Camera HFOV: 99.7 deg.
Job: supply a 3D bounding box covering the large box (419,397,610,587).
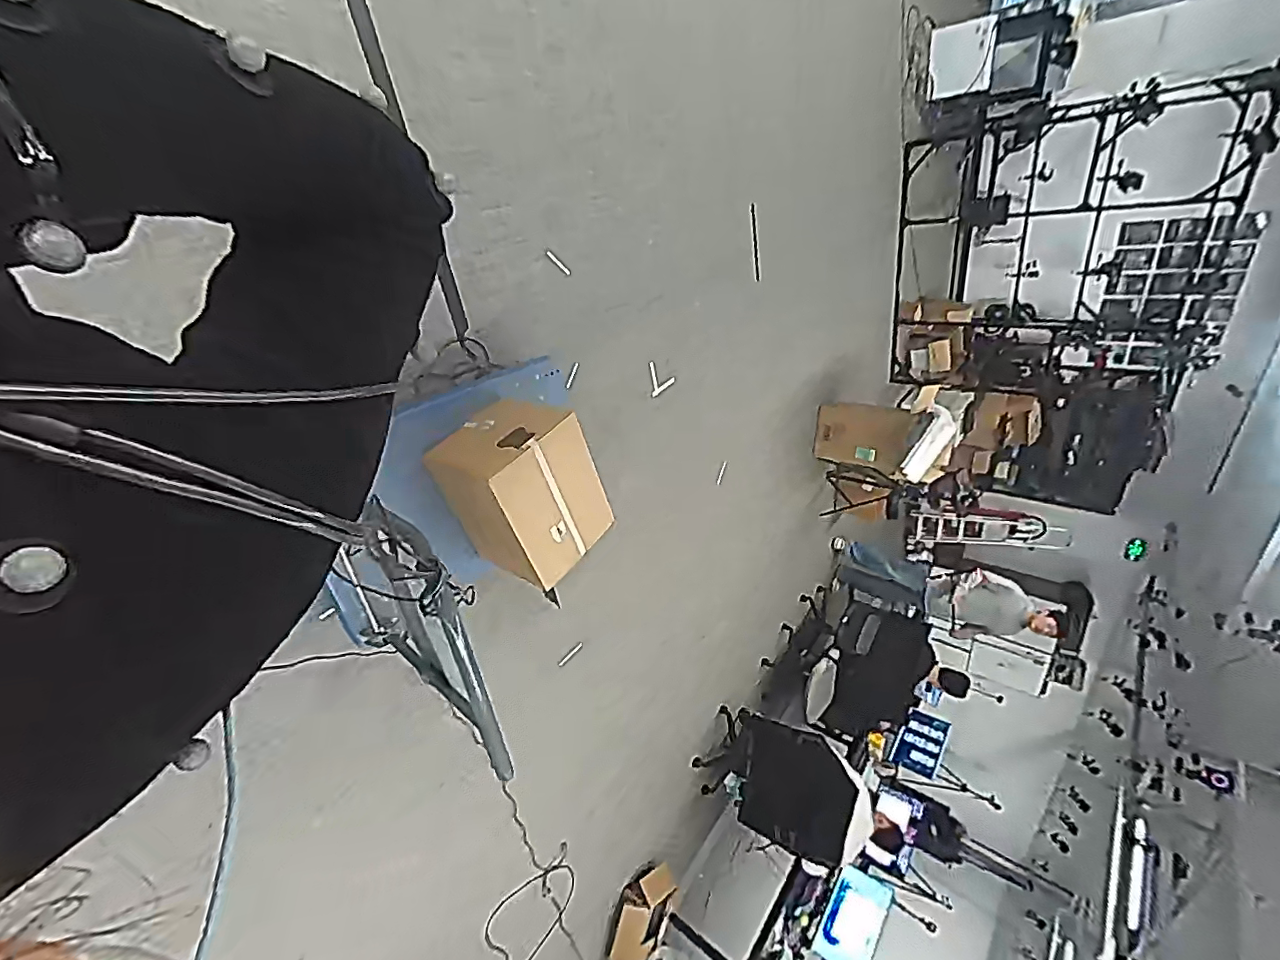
[{"bbox_3d":[-0.342,0.025,1.543,0.320,0.320,0.408,-44,134,-32],"label":"large box"}]
